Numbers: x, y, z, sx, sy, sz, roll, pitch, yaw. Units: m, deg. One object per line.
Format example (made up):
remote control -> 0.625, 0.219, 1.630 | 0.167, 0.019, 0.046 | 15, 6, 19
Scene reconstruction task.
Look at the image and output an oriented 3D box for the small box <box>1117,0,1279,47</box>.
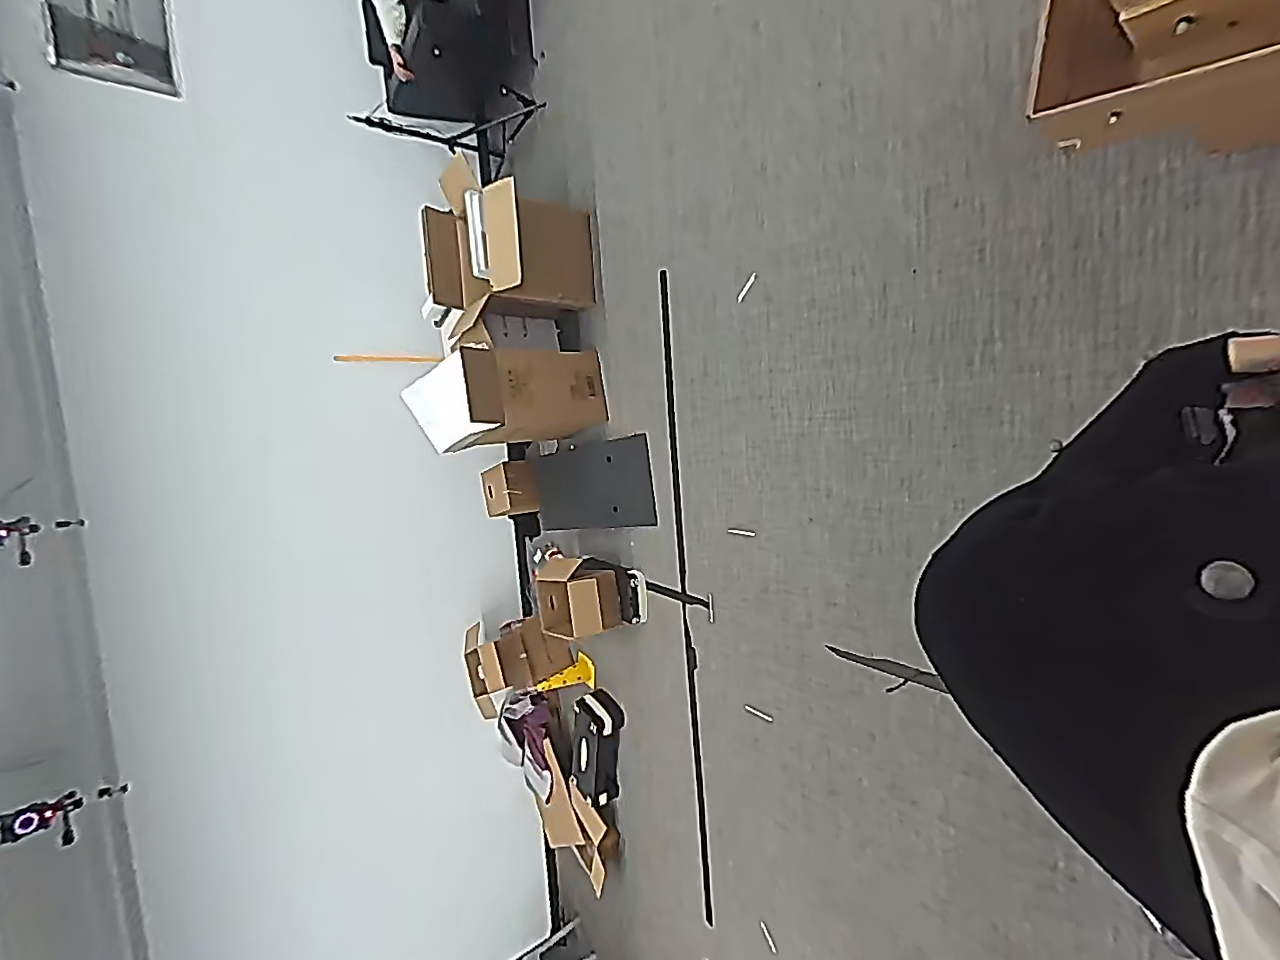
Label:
small box -> 0.814, -0.755, 0.761 | 0.168, 0.176, 0.179 | 15, 107, 51
